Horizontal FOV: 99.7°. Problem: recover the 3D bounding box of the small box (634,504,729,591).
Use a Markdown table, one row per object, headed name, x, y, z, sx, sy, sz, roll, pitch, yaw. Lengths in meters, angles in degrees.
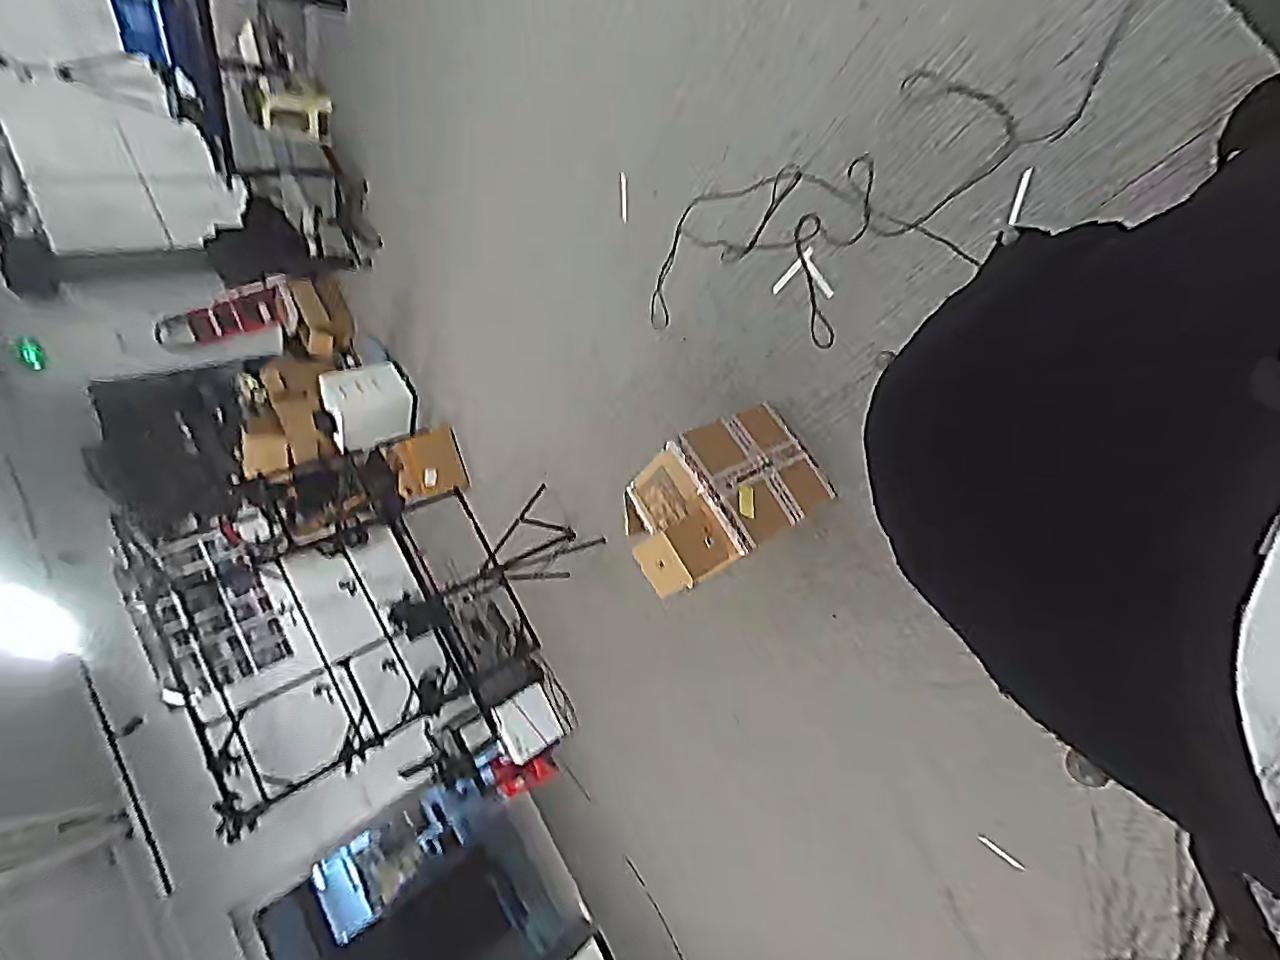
| name | x | y | z | sx | sy | sz | roll | pitch | yaw |
| --- | --- | --- | --- | --- | --- | --- | --- | --- | --- |
| small box | 0.122 | 0.192 | 1.557 | 0.168 | 0.176 | 0.179 | 58 | 139 | 8 |
